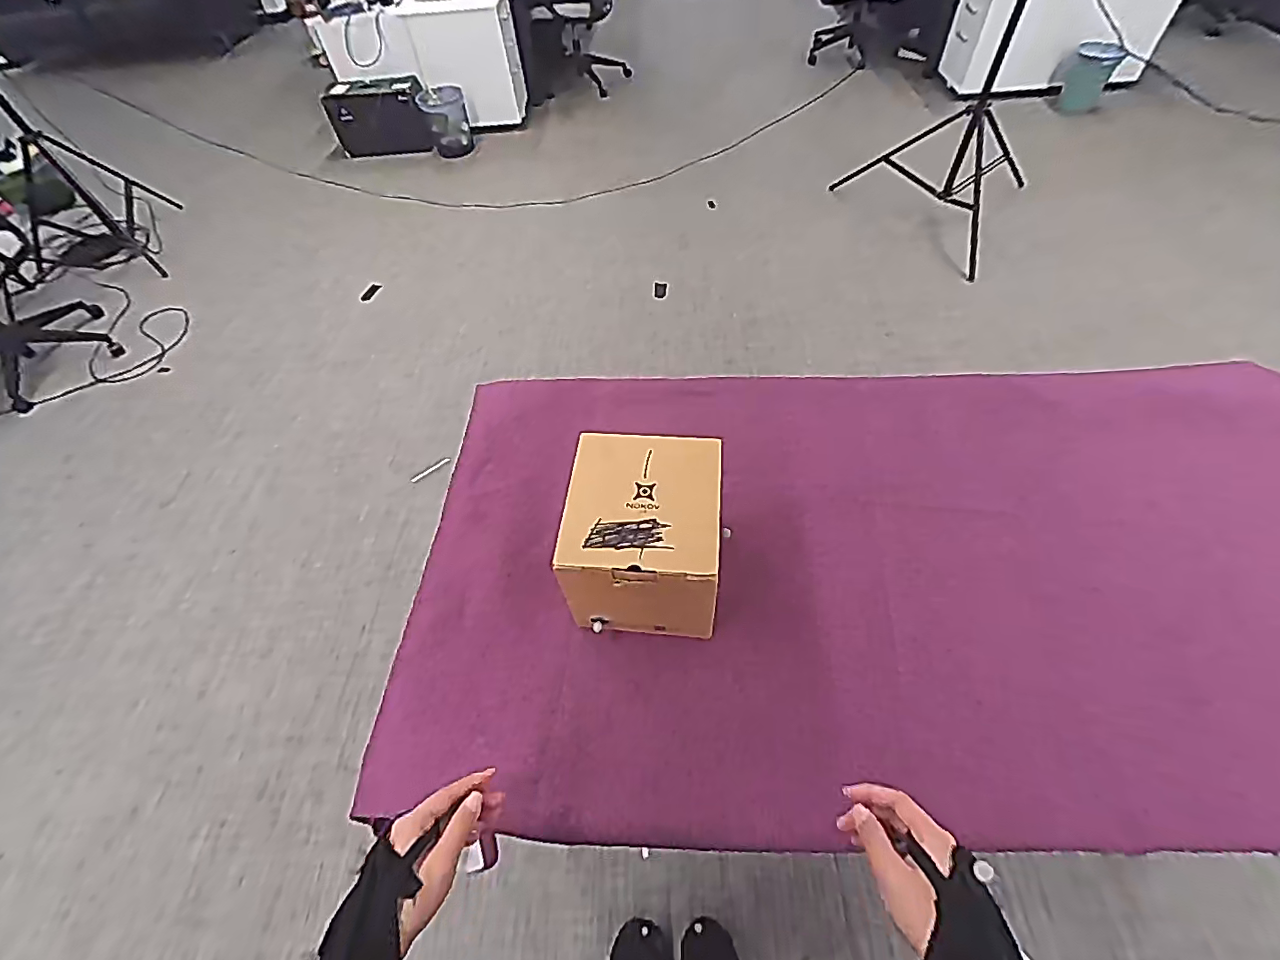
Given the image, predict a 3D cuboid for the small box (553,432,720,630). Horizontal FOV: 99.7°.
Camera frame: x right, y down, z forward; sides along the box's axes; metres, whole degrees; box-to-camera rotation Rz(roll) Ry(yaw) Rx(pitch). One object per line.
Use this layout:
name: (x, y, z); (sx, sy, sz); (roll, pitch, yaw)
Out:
small box: (0.007, 0.065, 0.644); (0.168, 0.176, 0.179); (3, 54, 6)
